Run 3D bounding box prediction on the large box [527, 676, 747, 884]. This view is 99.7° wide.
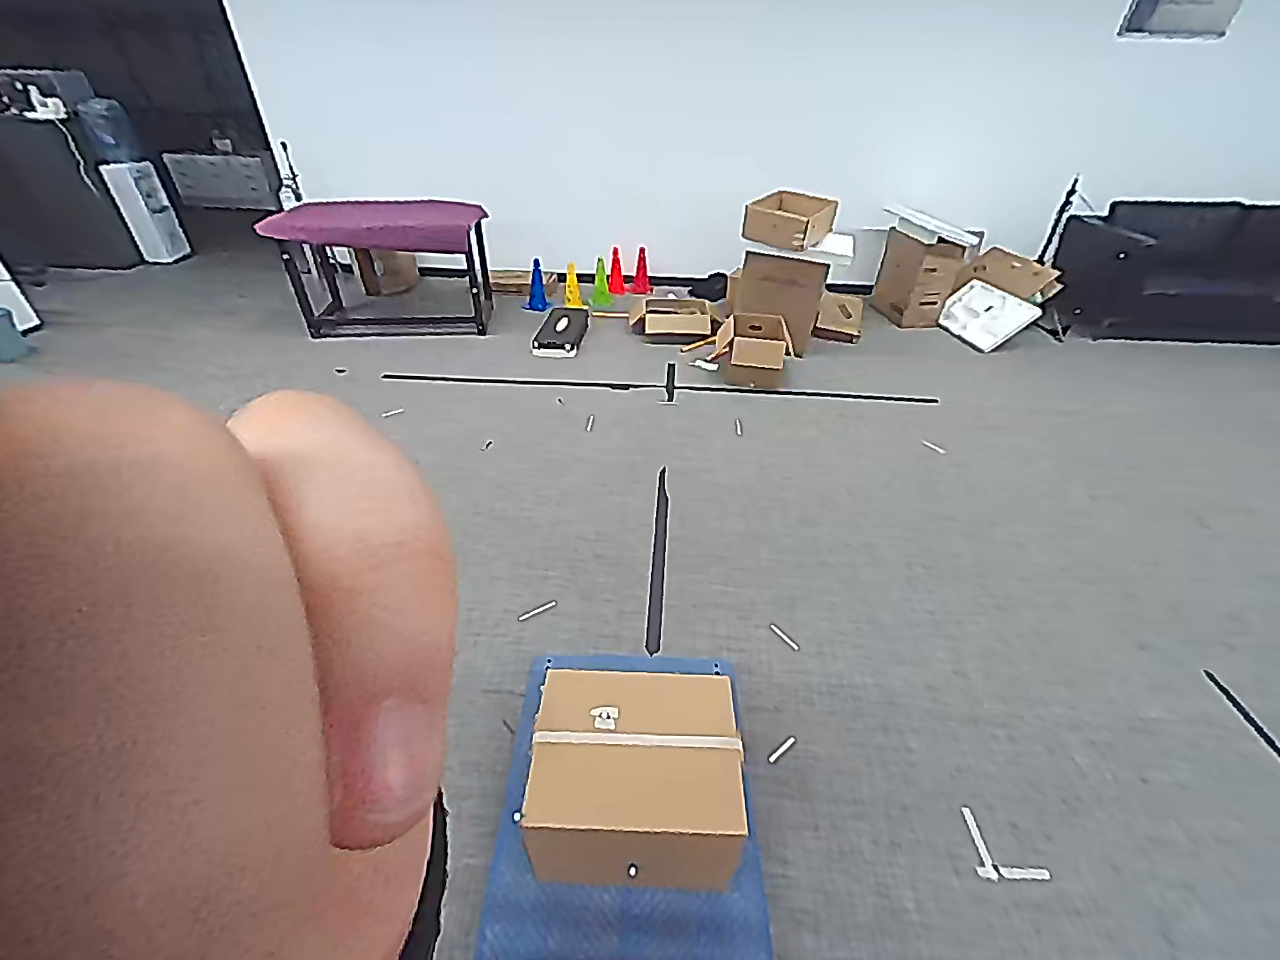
[{"bbox_3d":[-0.004,0.648,1.175,0.408,0.320,0.320,1,36,1],"label":"large box"}]
